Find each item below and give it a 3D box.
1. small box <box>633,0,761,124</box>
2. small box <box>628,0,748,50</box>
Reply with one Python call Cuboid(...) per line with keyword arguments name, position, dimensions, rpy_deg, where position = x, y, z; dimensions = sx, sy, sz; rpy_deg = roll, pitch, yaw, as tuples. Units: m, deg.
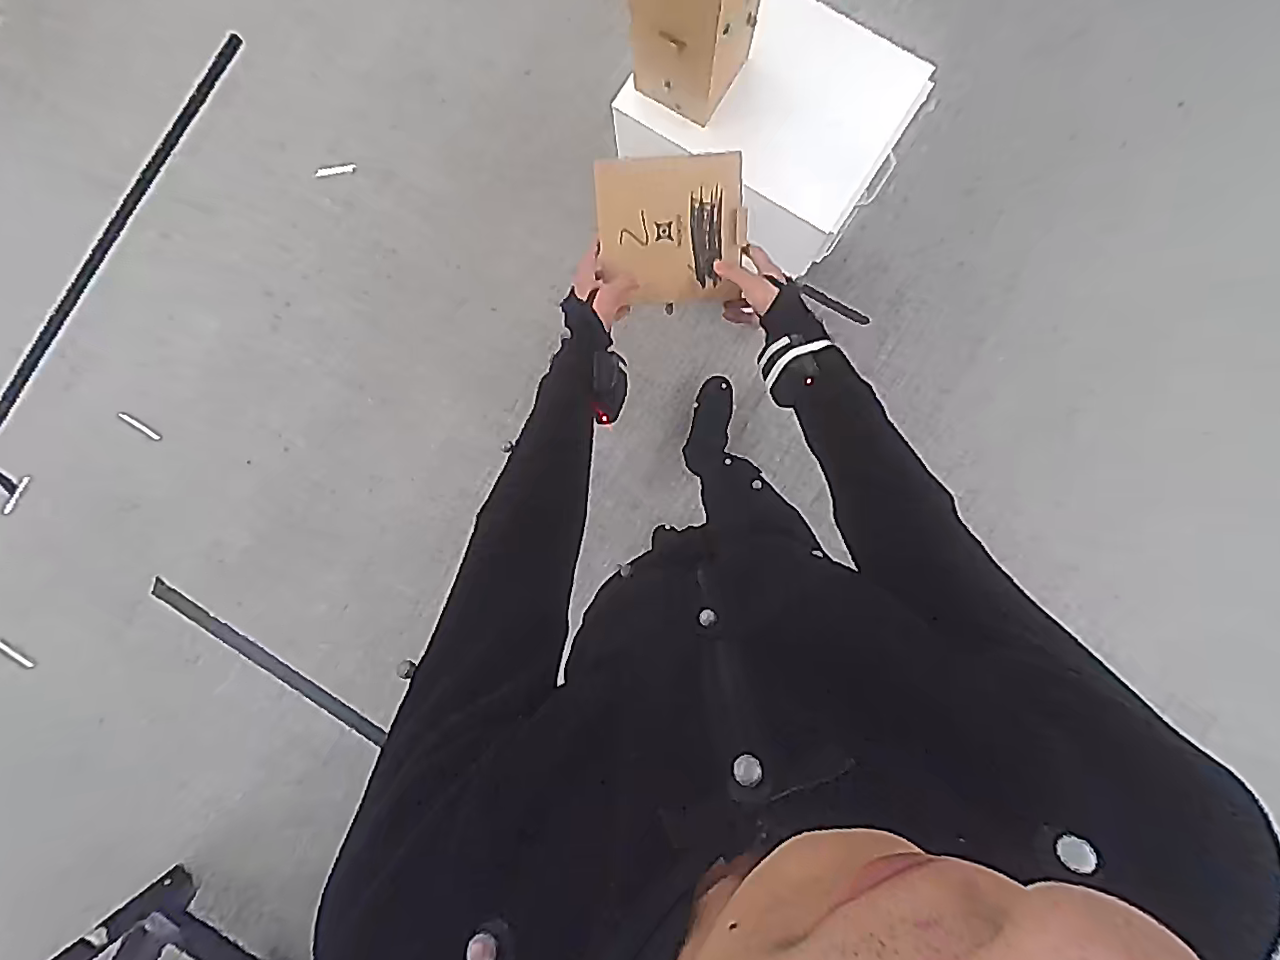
Cuboid(name="small box", position=(0.100, -0.810, 0.984), dimensions=(0.168, 0.176, 0.179), rpy_deg=(32, 89, 3))
Cuboid(name="small box", position=(0.089, -0.812, 0.820), dimensions=(0.179, 0.176, 0.168), rpy_deg=(32, 89, 4))
